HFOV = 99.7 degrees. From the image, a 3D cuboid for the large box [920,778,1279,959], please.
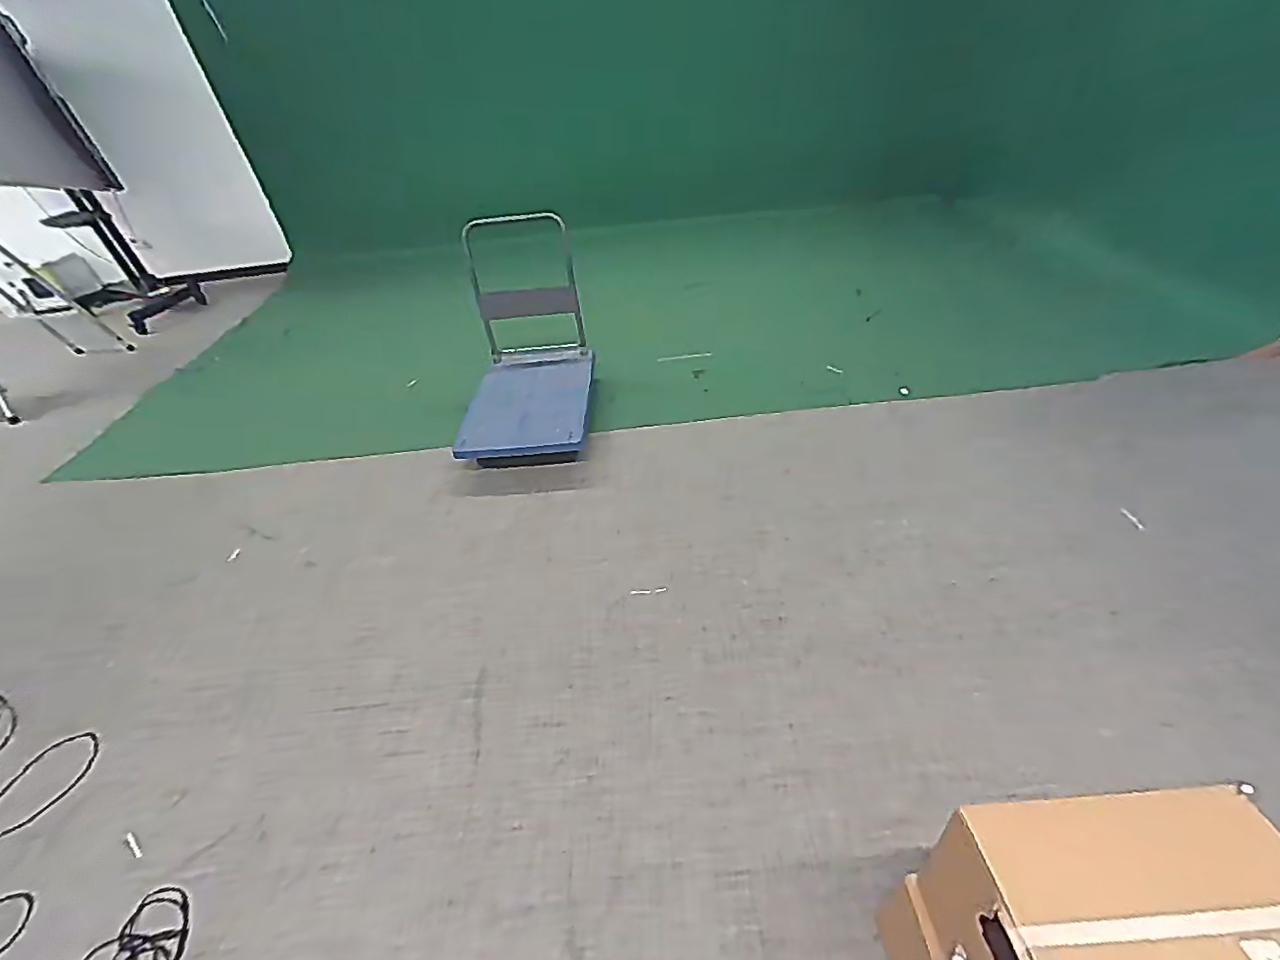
[{"bbox_3d":[0.684,0.664,0.755,0.408,0.320,0.320,-5,36,2],"label":"large box"}]
